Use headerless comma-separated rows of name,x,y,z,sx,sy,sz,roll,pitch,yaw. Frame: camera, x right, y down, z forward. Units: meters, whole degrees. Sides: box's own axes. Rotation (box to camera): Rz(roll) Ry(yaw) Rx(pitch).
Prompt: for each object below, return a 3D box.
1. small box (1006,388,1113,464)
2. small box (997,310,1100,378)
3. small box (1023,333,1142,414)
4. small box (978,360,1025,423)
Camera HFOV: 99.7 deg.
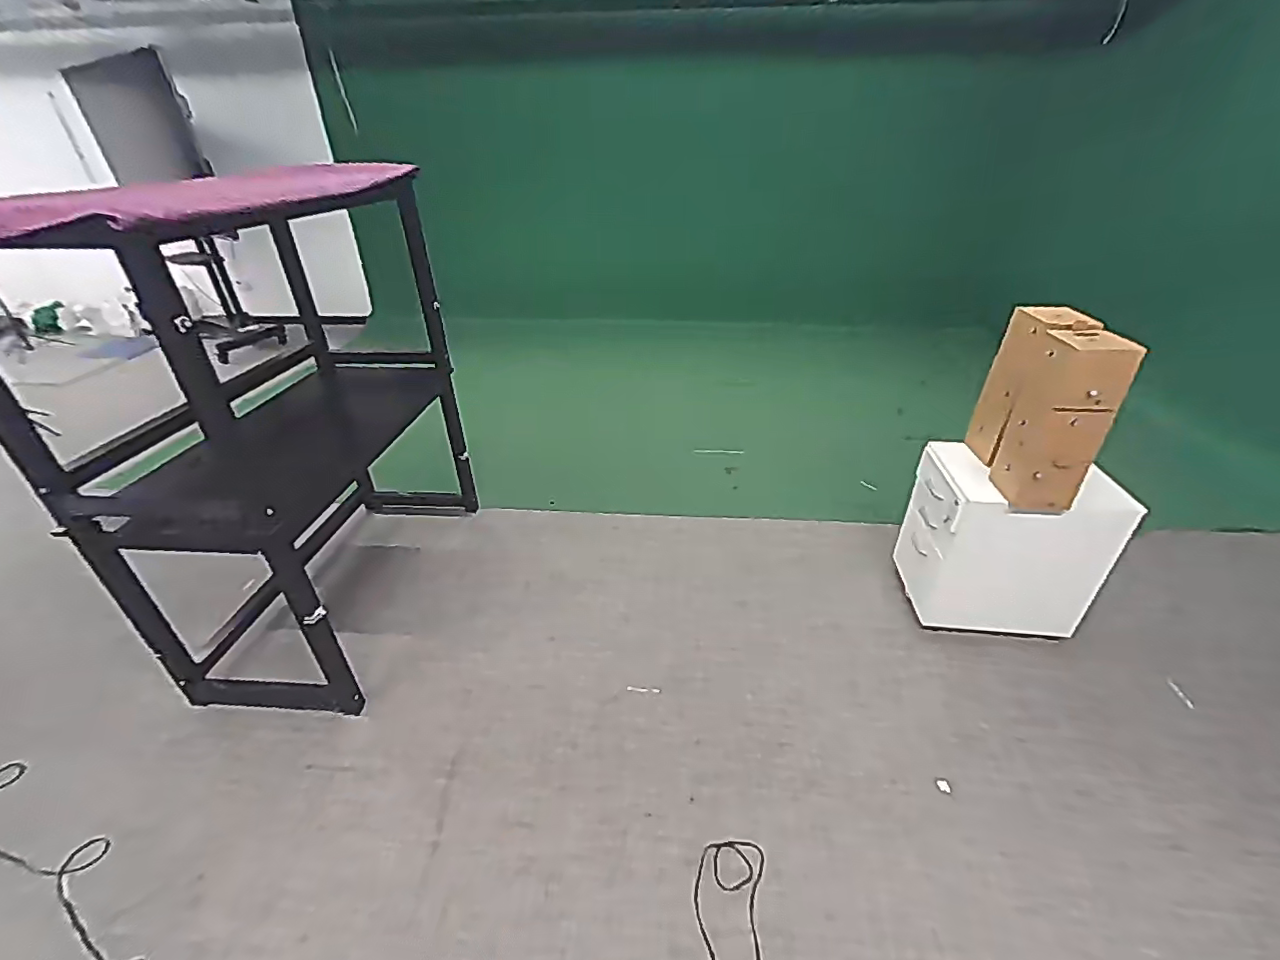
small box,1.206,-0.158,1.577,0.179,0.176,0.168,3,32,5
small box,1.266,-0.423,1.695,0.168,0.176,0.179,1,34,1
small box,1.201,-0.295,1.487,0.168,0.176,0.179,2,32,5
small box,1.261,-0.286,1.784,0.168,0.176,0.179,1,33,0
